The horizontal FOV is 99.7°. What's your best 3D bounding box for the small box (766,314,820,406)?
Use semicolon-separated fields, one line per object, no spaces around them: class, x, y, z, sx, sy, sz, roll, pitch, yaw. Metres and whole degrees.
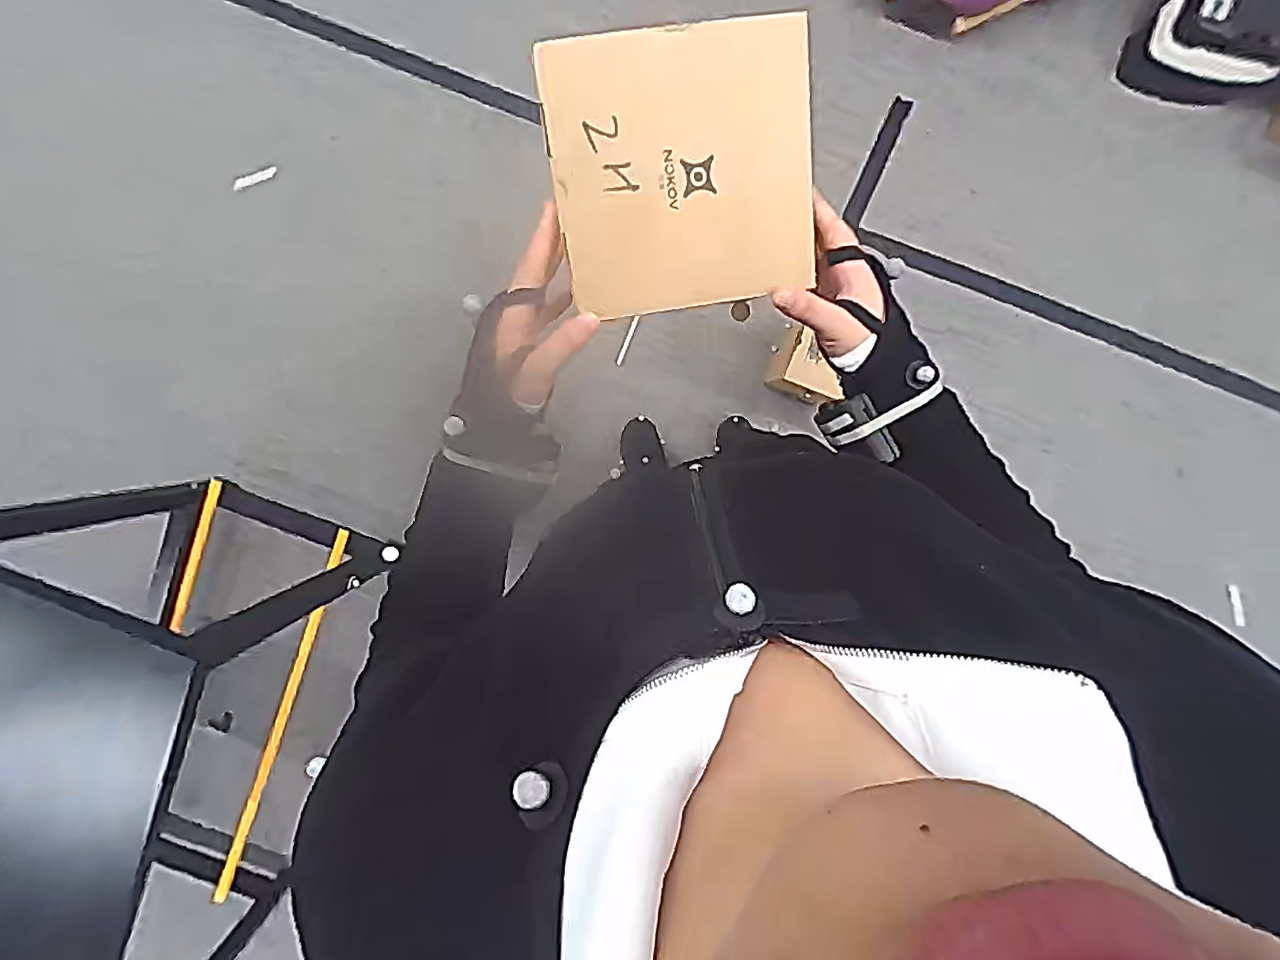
small box;0.431;-0.294;1.366;0.168;0.176;0.179;24;98;-1

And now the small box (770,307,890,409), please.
small box;0.410;-0.262;1.204;0.179;0.176;0.168;22;98;-1

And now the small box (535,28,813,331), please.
small box;0.021;-0.220;0.434;0.179;0.176;0.168;-10;109;-3
